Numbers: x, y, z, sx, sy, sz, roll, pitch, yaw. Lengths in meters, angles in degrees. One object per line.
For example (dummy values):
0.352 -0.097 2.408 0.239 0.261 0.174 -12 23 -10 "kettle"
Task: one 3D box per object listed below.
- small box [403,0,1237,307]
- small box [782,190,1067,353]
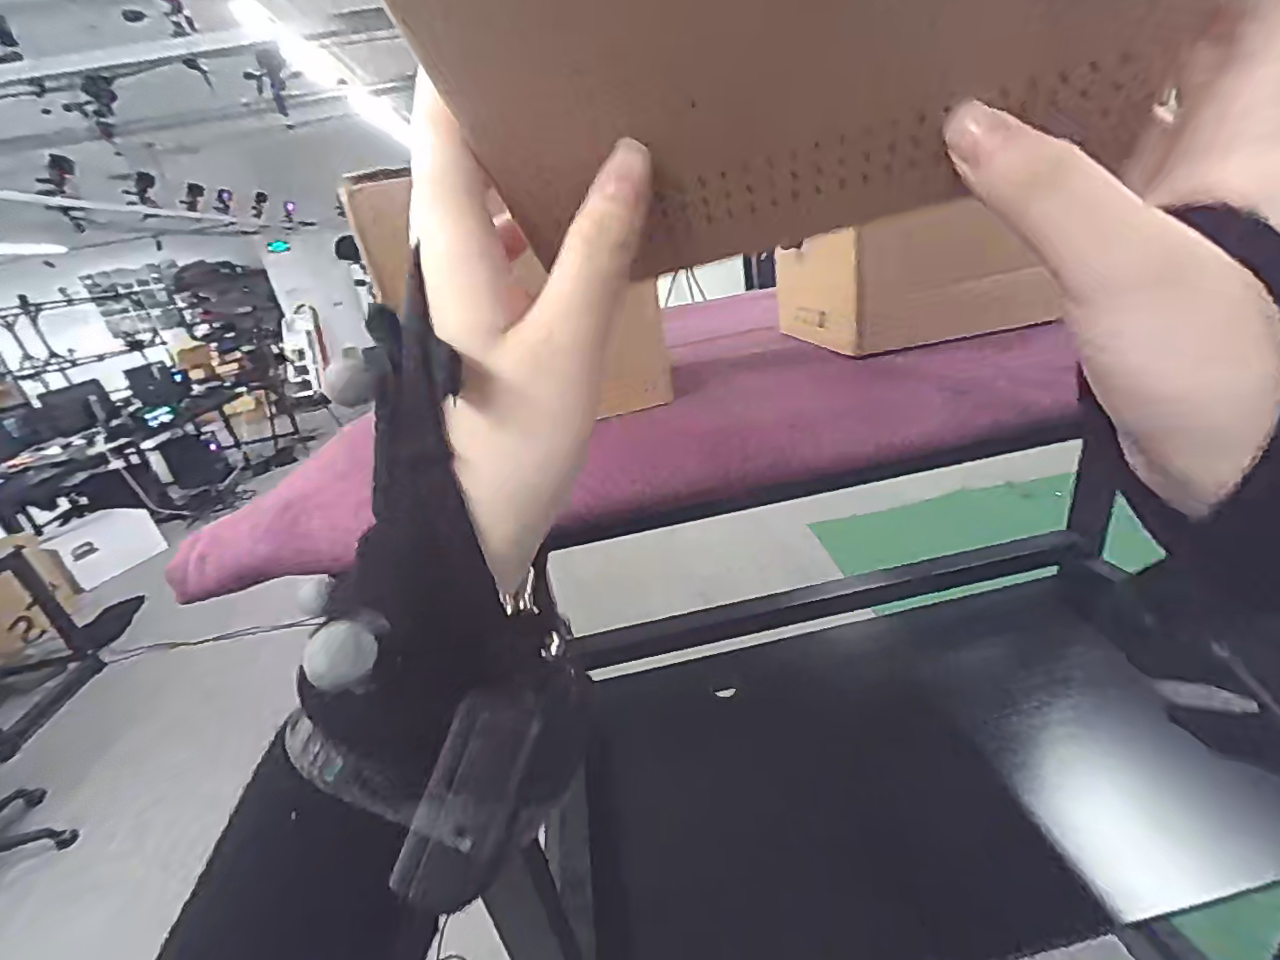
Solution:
0.037 -0.174 0.134 0.179 0.176 0.168 -9 63 16 "small box"
0.225 -0.212 0.460 0.179 0.176 0.168 -11 23 -3 "small box"
